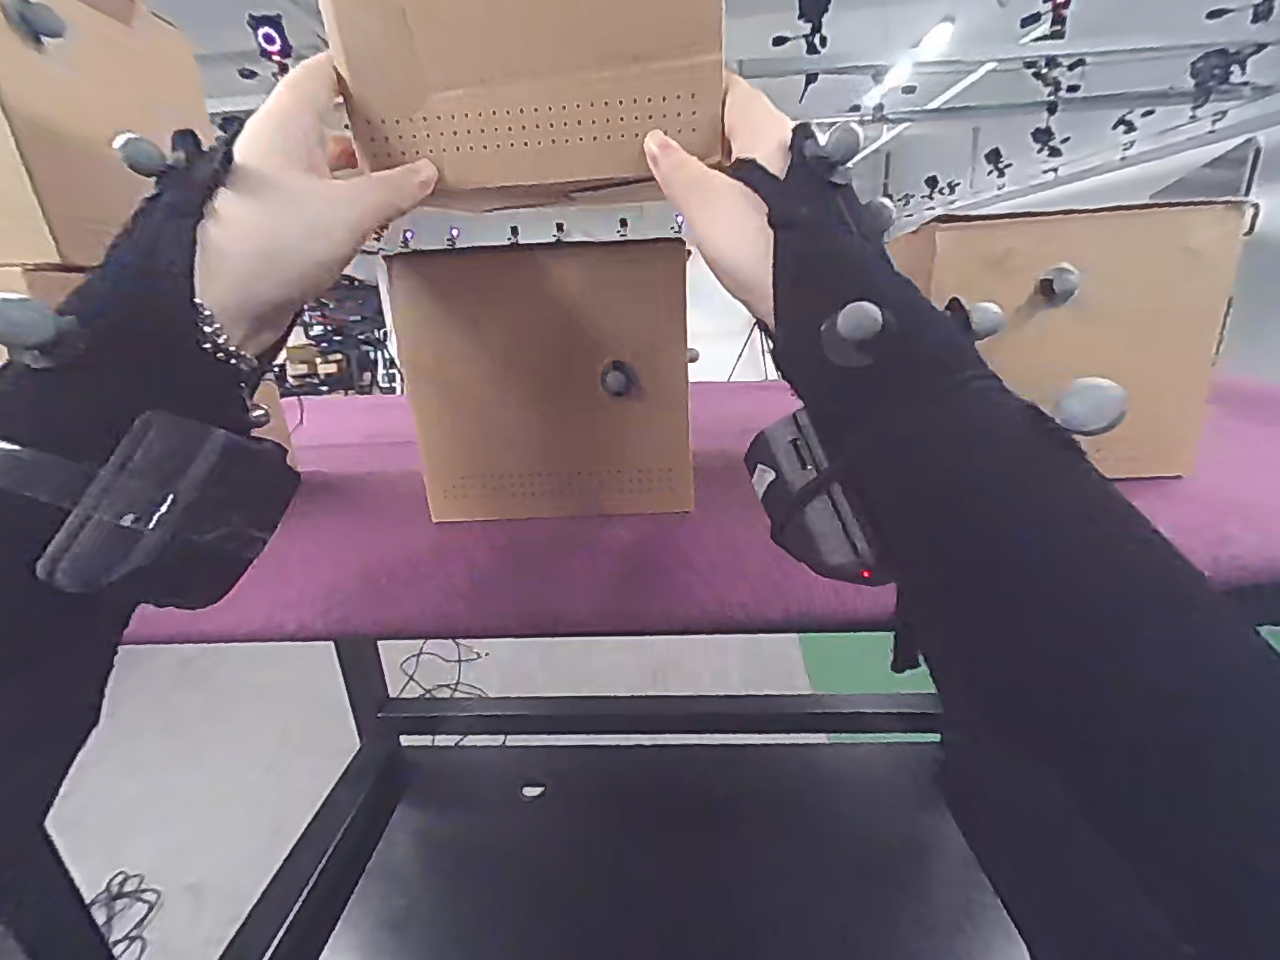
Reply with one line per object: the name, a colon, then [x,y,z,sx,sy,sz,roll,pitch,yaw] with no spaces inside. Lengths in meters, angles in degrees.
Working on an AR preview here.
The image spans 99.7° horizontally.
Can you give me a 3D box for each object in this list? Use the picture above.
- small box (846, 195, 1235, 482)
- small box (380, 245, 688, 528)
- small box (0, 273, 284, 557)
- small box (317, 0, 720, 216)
small box: [0.266,-0.099,0.410,0.179,0.176,0.168,-2,17,4]
small box: [-0.056,-0.073,0.403,0.179,0.176,0.168,-4,19,1]
small box: [-0.398,-0.053,0.388,0.168,0.176,0.179,-2,19,1]
small box: [-0.051,-0.238,0.289,0.179,0.176,0.168,-2,24,4]
